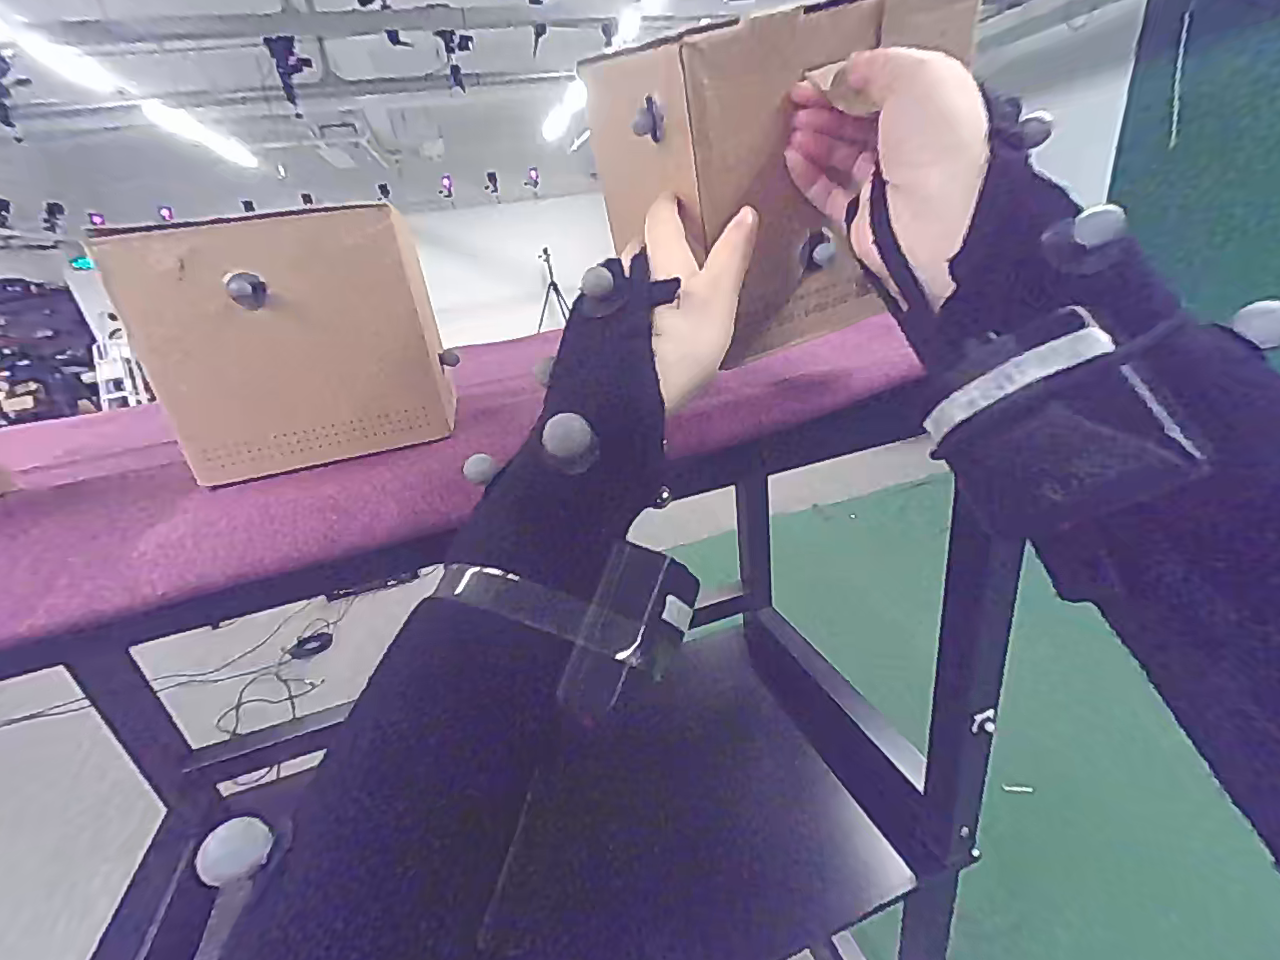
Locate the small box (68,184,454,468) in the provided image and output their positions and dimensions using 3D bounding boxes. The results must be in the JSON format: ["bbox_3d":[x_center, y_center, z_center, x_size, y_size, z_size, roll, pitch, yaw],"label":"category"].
[{"bbox_3d":[-0.263,-0.120,0.433,0.179,0.176,0.168,-14,23,-13],"label":"small box"}]

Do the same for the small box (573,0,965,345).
[{"bbox_3d":[0.072,-0.211,0.361,0.168,0.176,0.179,-22,38,-10],"label":"small box"}]
